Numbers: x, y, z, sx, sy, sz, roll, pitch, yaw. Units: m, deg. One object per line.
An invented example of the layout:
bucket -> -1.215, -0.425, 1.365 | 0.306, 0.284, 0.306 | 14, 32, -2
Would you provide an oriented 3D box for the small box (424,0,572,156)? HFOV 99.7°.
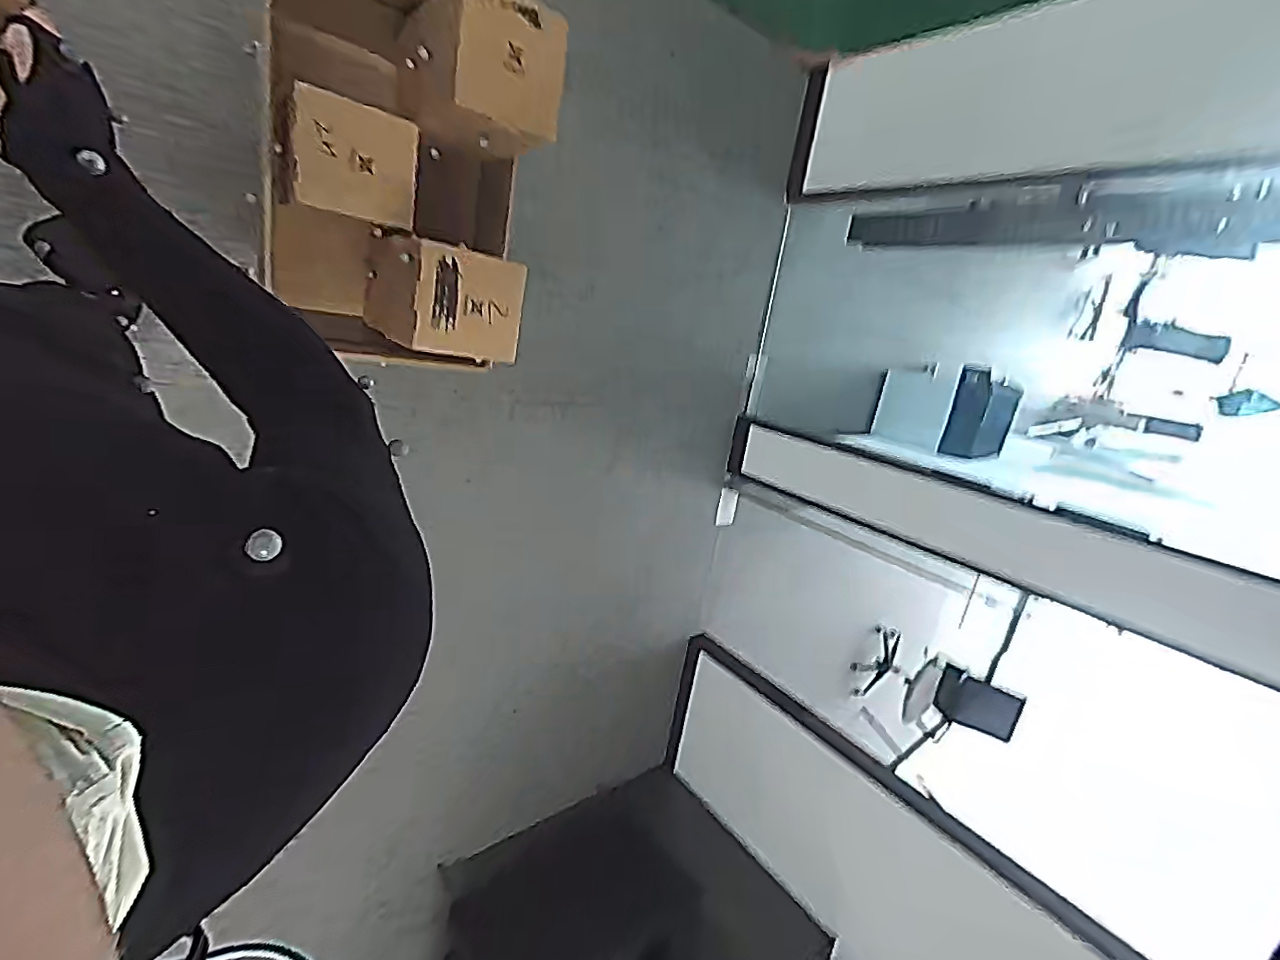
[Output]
small box -> -0.233, -0.641, 0.860 | 0.168, 0.176, 0.179 | -2, 110, -40
